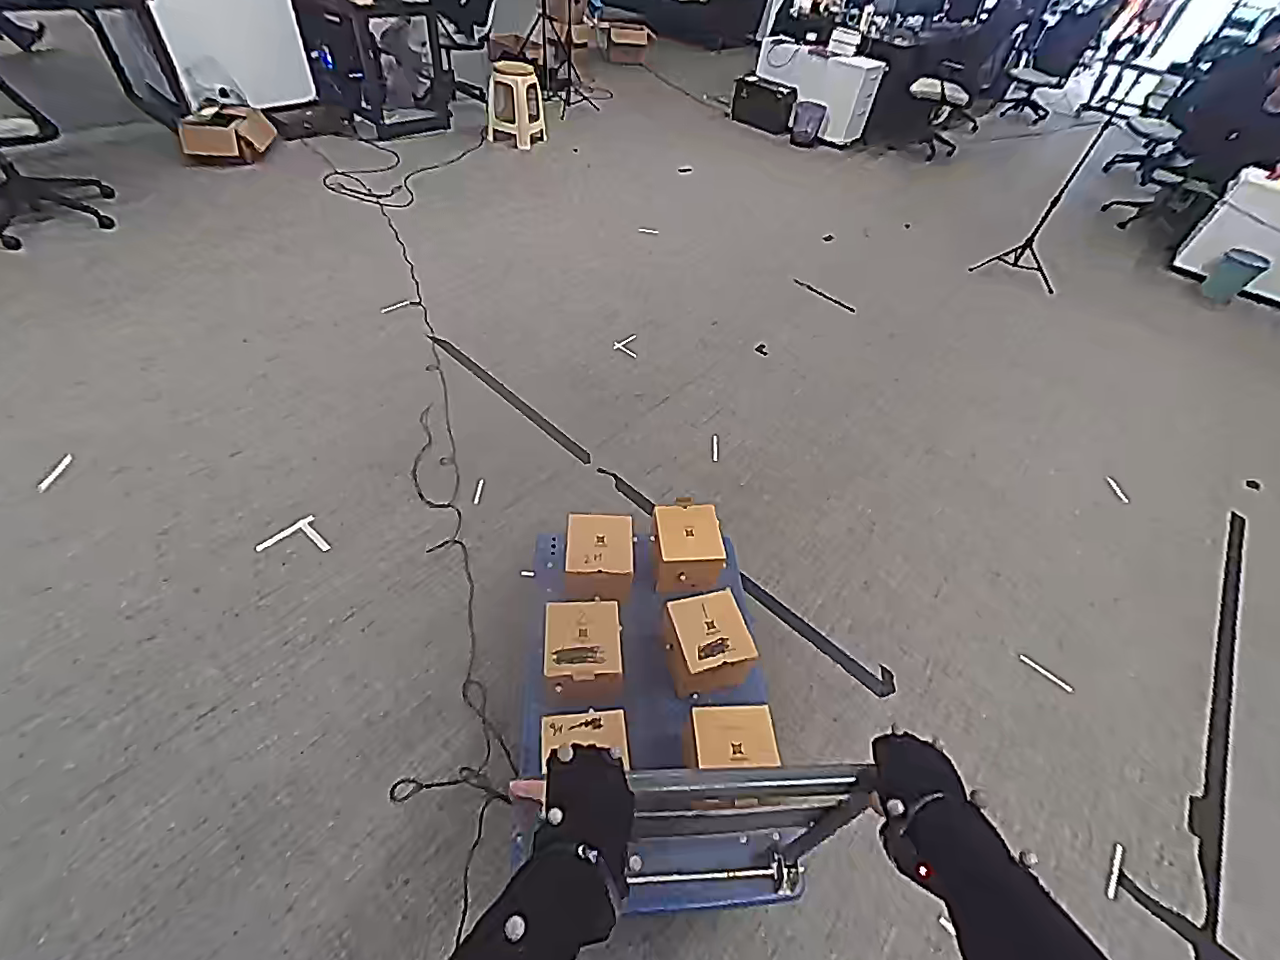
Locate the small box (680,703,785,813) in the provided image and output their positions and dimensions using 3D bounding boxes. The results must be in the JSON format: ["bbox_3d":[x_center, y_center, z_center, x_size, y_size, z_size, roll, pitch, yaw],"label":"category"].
[{"bbox_3d":[0.183,0.585,1.130,0.168,0.176,0.179,2,48,-7],"label":"small box"}]

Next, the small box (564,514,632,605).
[{"bbox_3d":[-0.112,0.209,1.419,0.168,0.176,0.179,2,49,-6],"label":"small box"}]

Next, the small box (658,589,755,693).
[{"bbox_3d":[0.152,0.391,1.297,0.168,0.176,0.179,-8,50,-15],"label":"small box"}]

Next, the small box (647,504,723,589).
[{"bbox_3d":[0.115,0.186,1.474,0.168,0.176,0.179,-2,49,-9],"label":"small box"}]

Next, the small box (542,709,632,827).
[{"bbox_3d":[-0.112,0.582,1.088,0.168,0.176,0.179,-1,49,-10],"label":"small box"}]
